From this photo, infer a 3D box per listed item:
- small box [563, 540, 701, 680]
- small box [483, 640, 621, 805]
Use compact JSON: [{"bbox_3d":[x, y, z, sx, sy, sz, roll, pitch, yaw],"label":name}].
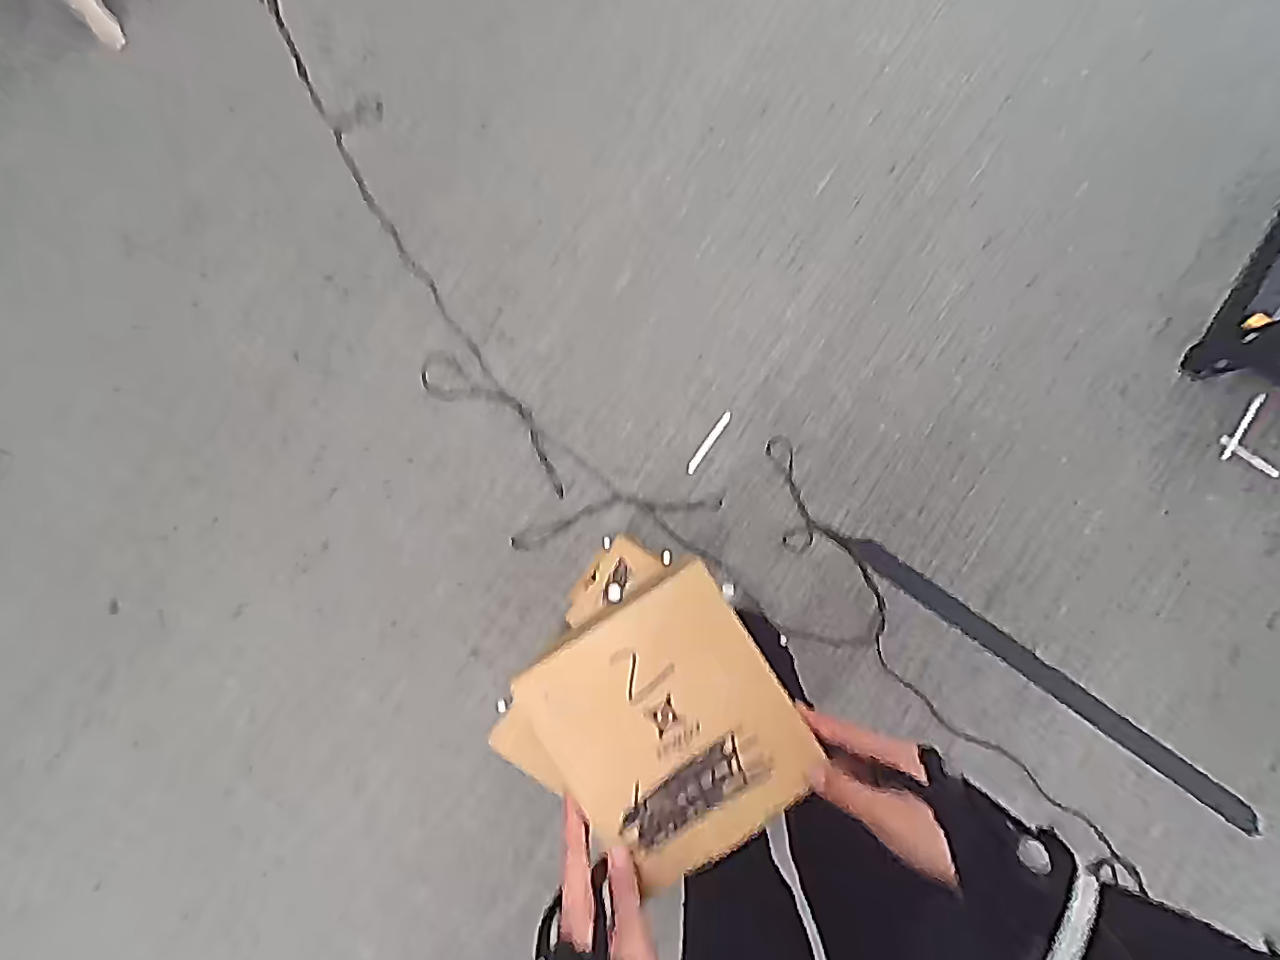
[{"bbox_3d":[-0.016,0.222,0.972,0.179,0.176,0.168,33,86,0],"label":"small box"},{"bbox_3d":[-0.142,0.415,0.957,0.168,0.176,0.179,35,88,1],"label":"small box"}]
